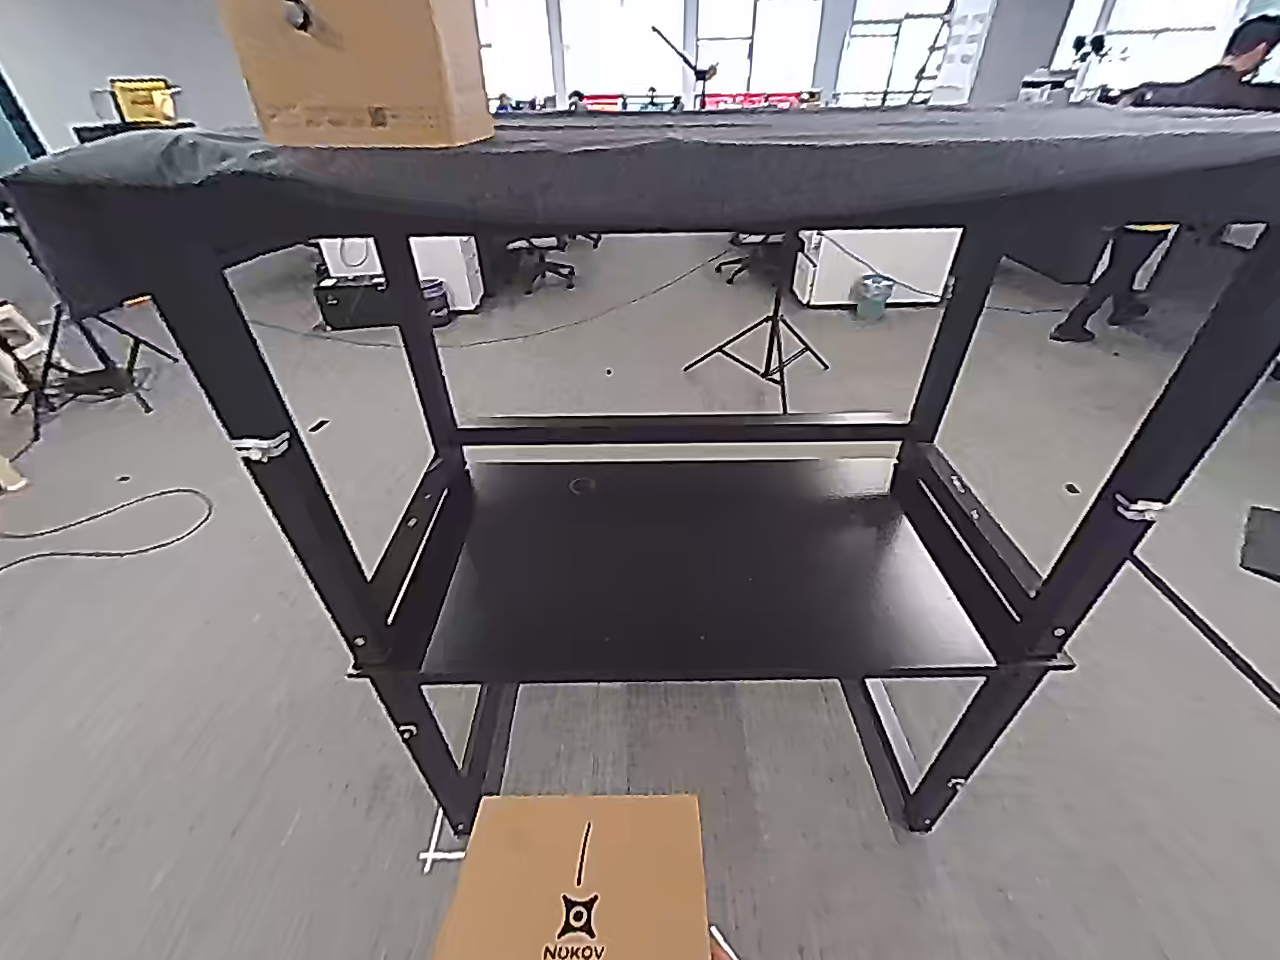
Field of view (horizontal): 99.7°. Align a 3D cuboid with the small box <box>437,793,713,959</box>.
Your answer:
[{"bbox_3d":[-0.033,0.346,0.364,0.168,0.176,0.179,-1,26,2],"label":"small box"}]

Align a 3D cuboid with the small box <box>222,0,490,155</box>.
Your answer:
[{"bbox_3d":[-0.245,-0.401,0.497,0.168,0.176,0.179,-1,35,-1],"label":"small box"}]
